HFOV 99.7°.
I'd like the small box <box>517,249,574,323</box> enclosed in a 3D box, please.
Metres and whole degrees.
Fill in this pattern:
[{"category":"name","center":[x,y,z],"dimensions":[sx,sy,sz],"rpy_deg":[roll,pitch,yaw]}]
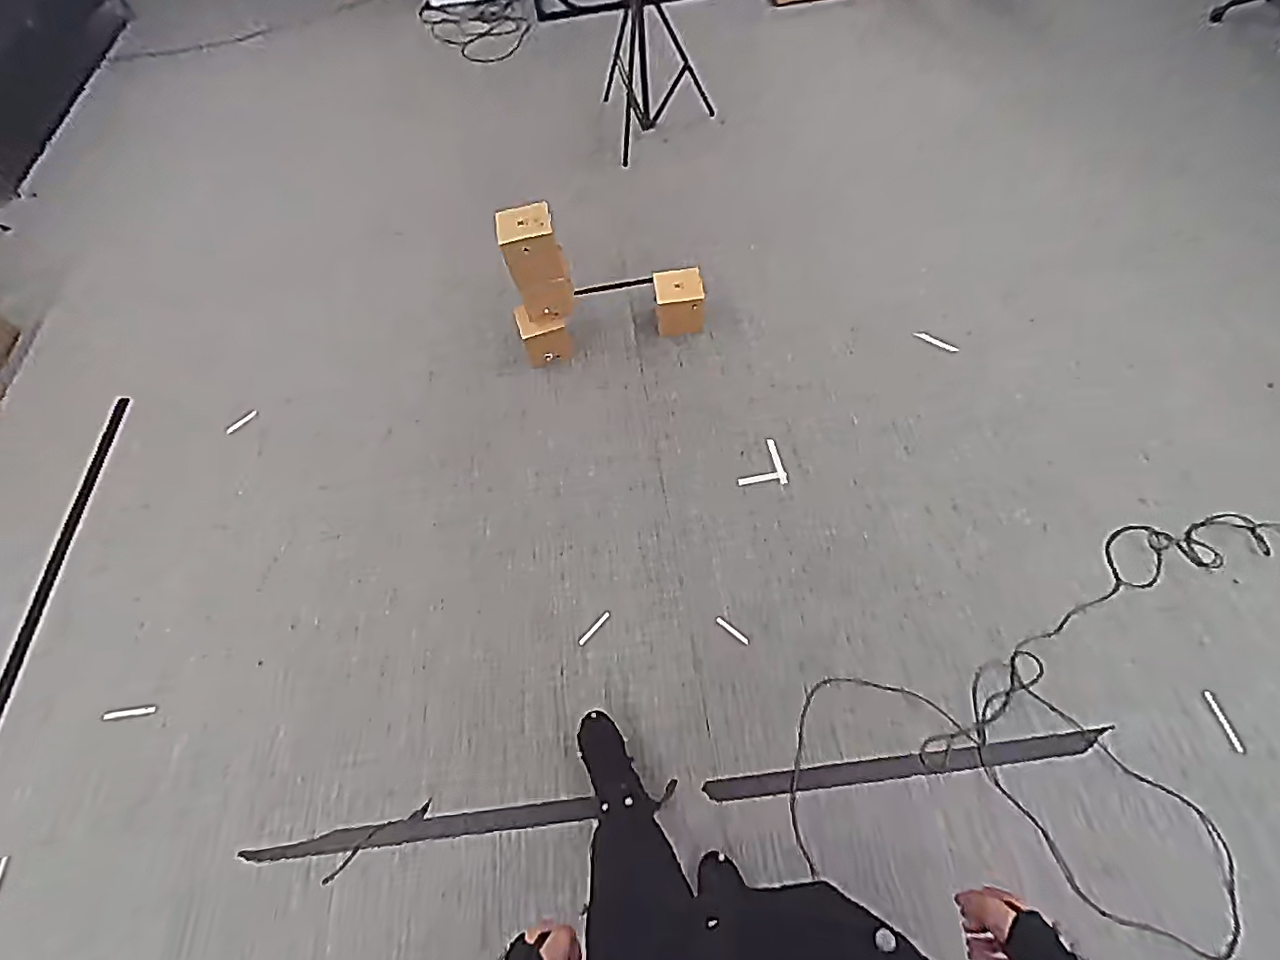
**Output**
[{"category":"small box","center":[-0.331,-0.687,1.918],"dimensions":[0.168,0.176,0.179],"rpy_deg":[-6,61,3]}]

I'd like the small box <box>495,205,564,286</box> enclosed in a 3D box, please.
[{"category":"small box","center":[-0.361,-0.764,1.776],"dimensions":[0.179,0.176,0.168],"rpy_deg":[-12,60,0]}]

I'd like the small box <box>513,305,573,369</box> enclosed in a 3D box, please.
[{"category":"small box","center":[-0.361,-0.549,2.032],"dimensions":[0.168,0.176,0.179],"rpy_deg":[-19,61,-4]}]

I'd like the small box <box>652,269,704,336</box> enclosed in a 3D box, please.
[{"category":"small box","center":[0.145,-0.668,2.050],"dimensions":[0.179,0.176,0.168],"rpy_deg":[-8,61,0]}]
